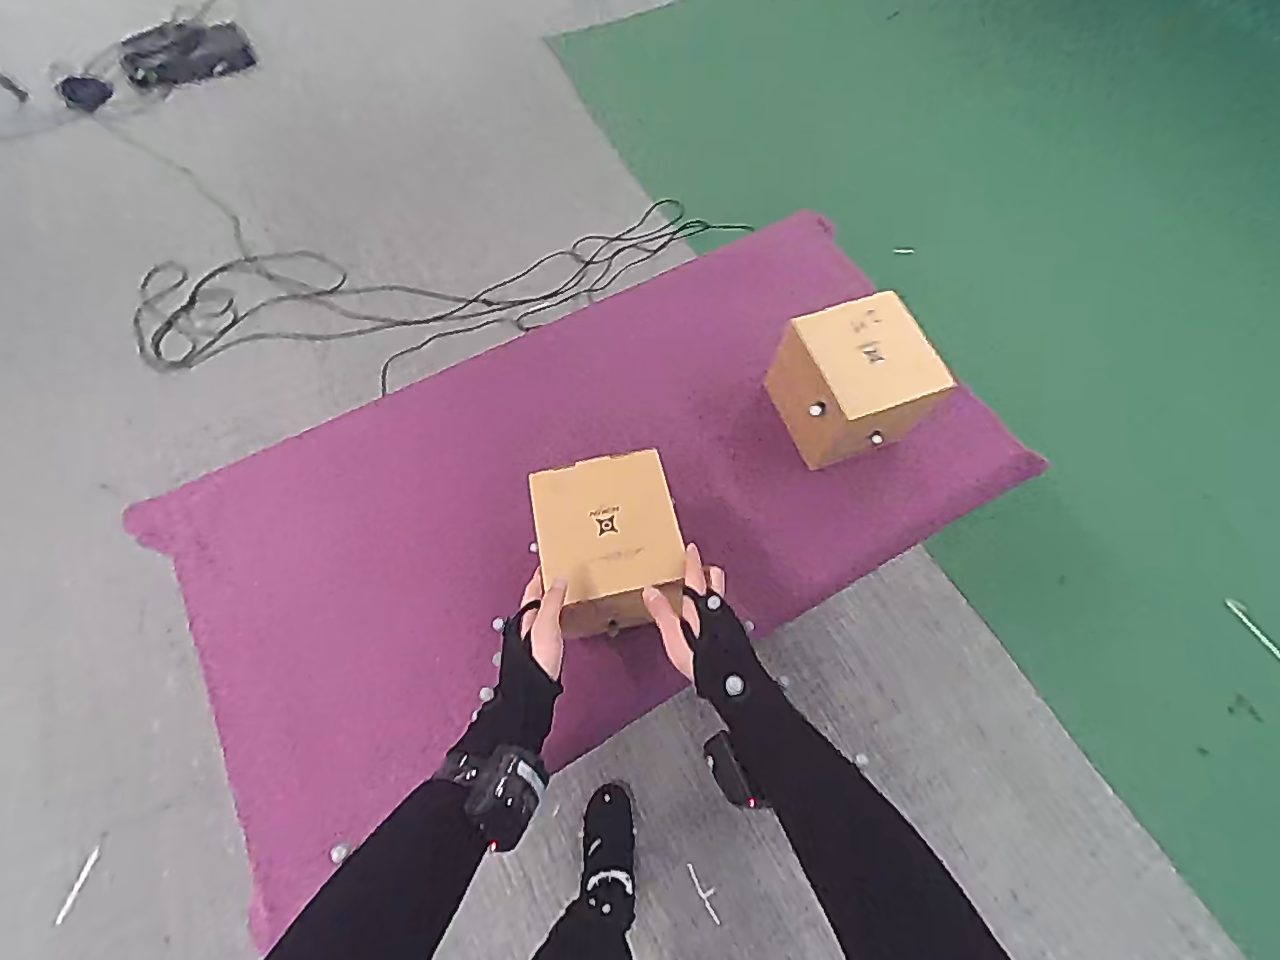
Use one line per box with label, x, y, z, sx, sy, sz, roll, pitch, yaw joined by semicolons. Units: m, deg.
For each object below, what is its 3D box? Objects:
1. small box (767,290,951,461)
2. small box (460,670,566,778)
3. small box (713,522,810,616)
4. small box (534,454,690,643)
small box;0.311;-0.144;0.810;0.168;0.176;0.179;-18;68;-8
small box;-0.295;0.577;1.286;0.179;0.176;0.168;-28;70;-12
small box;0.314;0.245;1.433;0.168;0.176;0.179;-31;70;-13
small box;-0.037;0.092;0.695;0.168;0.176;0.179;-9;60;-4
